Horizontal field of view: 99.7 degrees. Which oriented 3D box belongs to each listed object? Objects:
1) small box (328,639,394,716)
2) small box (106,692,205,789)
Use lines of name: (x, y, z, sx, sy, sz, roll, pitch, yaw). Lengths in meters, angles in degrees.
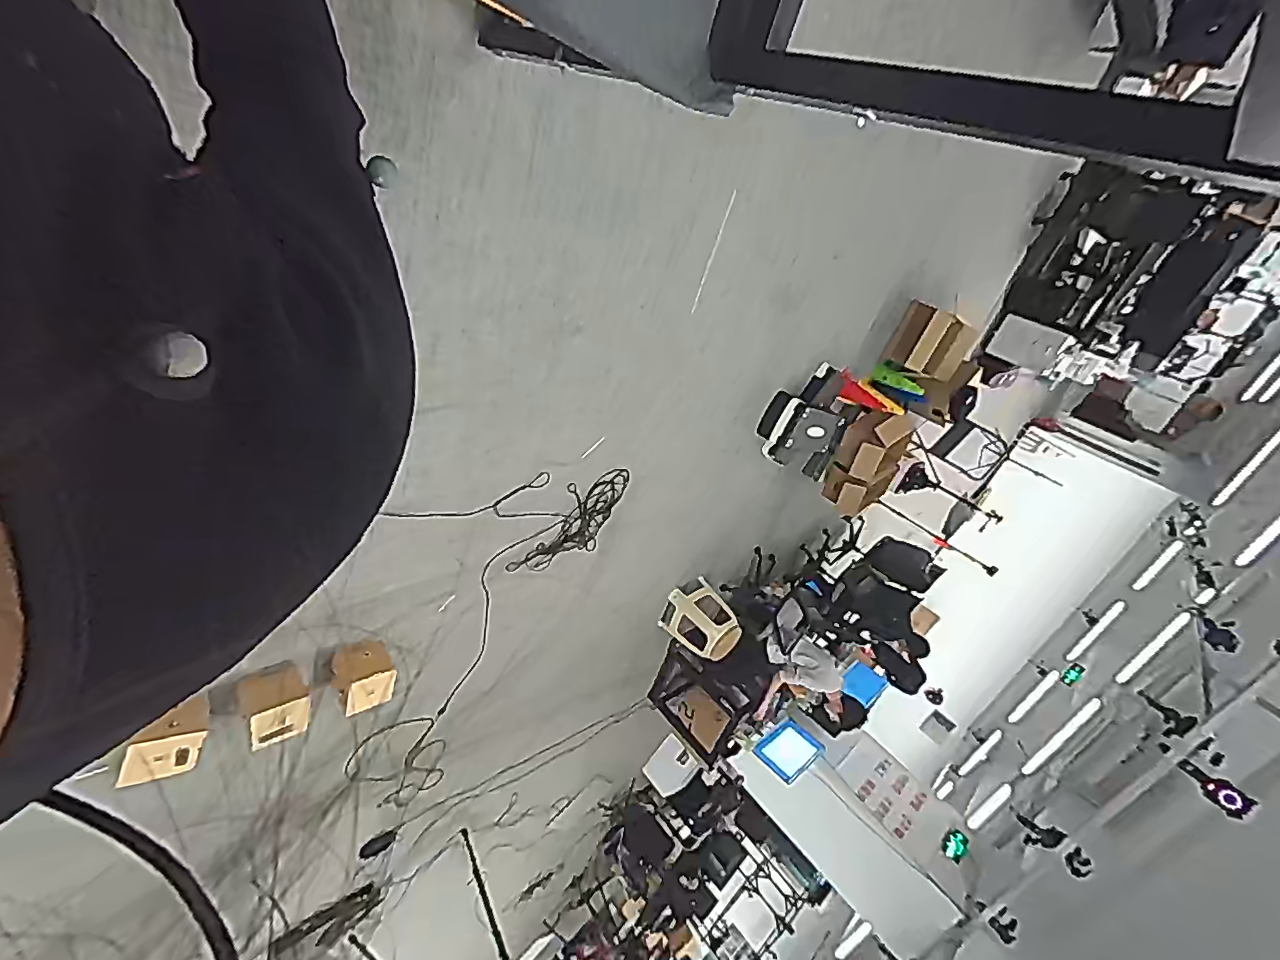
small box: (-1.038, 0.725, 2.004, 0.168, 0.176, 0.179, -9, 128, -46)
small box: (-1.409, 0.744, 1.571, 0.179, 0.176, 0.168, 11, 113, -52)
